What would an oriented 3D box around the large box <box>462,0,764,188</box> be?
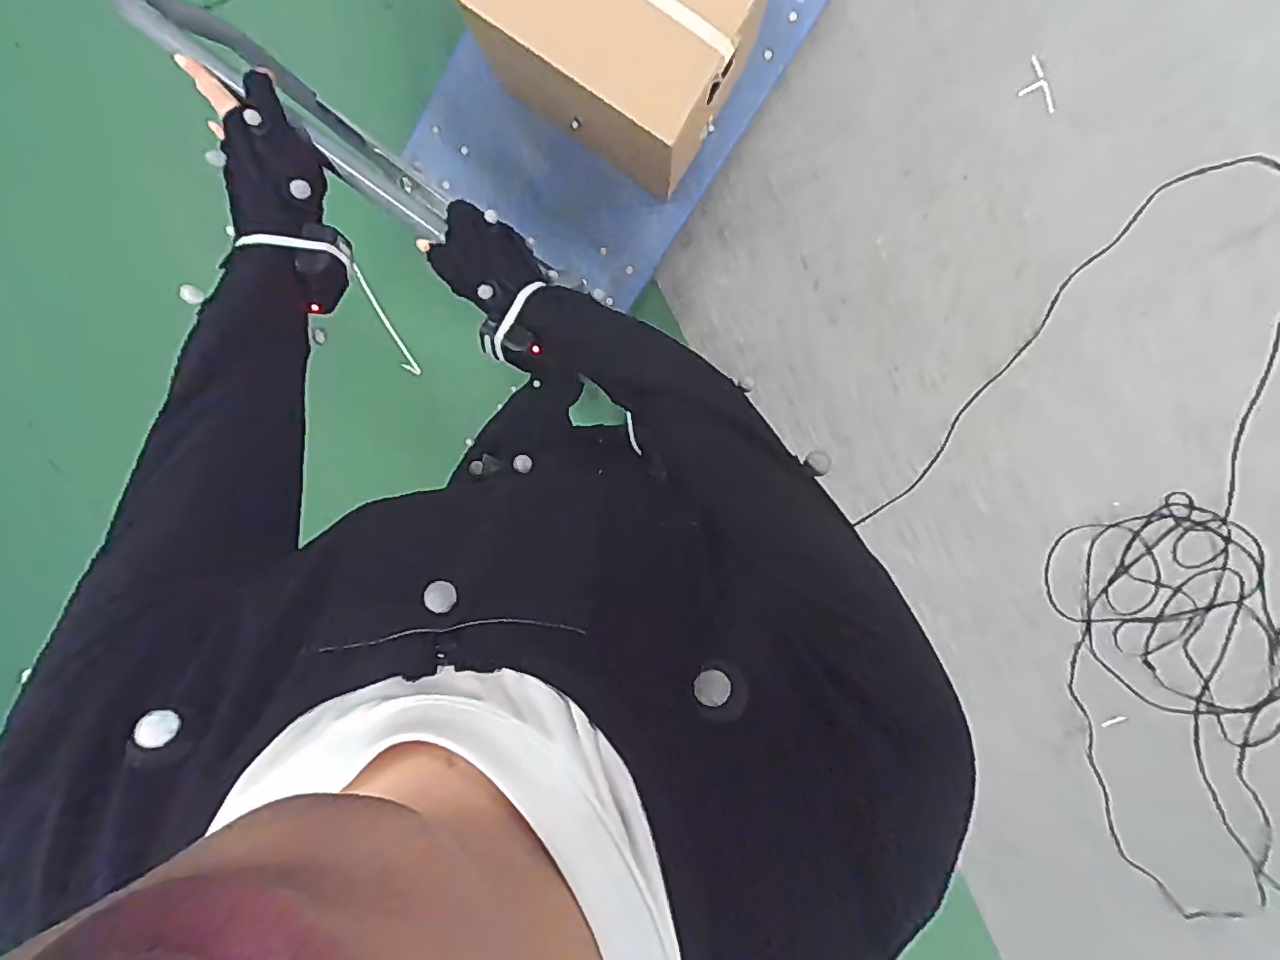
[{"bbox_3d":[-0.028,-0.808,0.963,0.408,0.320,0.320,31,101,-5],"label":"large box"}]
